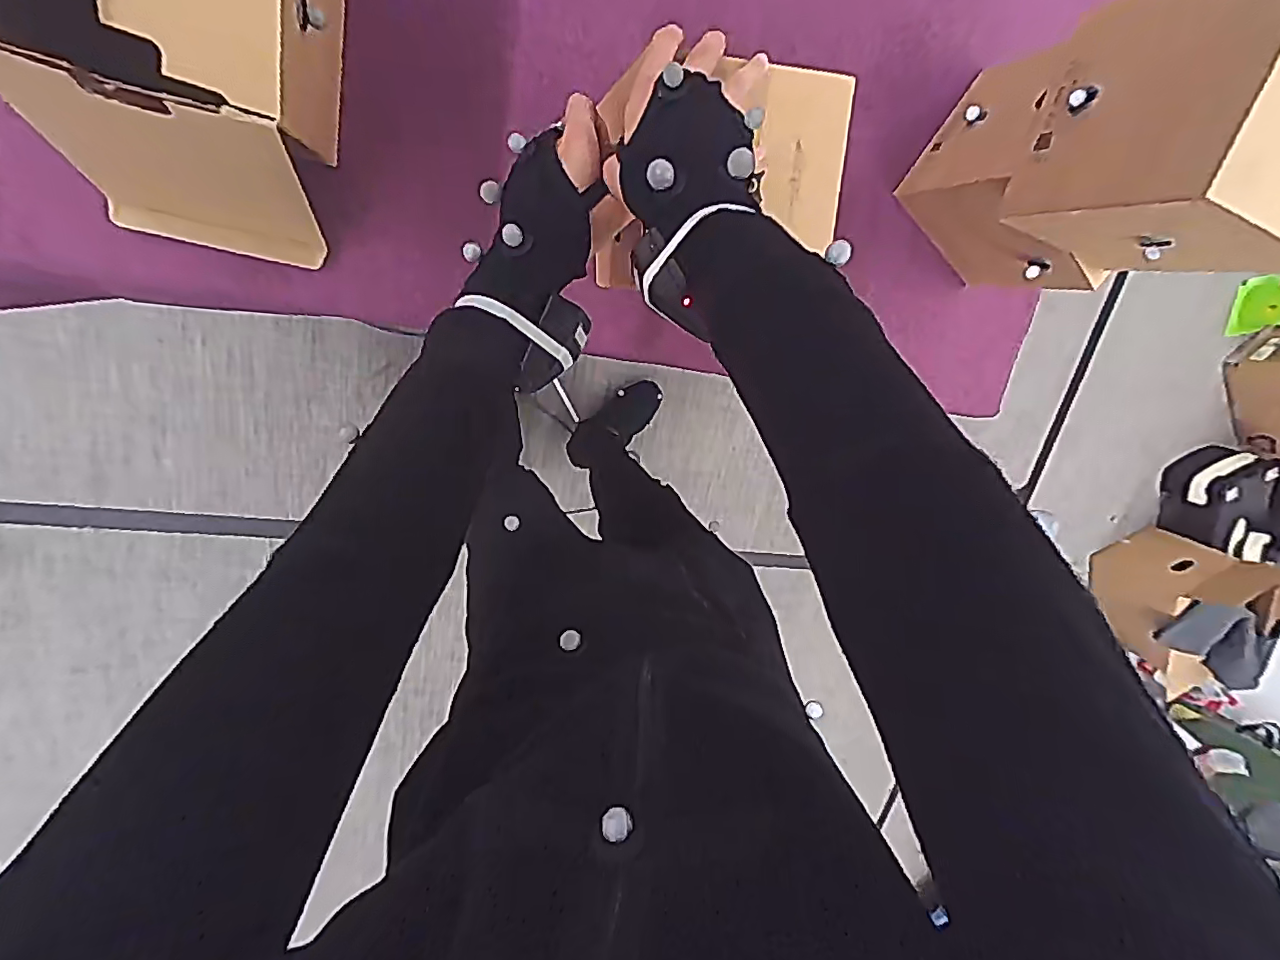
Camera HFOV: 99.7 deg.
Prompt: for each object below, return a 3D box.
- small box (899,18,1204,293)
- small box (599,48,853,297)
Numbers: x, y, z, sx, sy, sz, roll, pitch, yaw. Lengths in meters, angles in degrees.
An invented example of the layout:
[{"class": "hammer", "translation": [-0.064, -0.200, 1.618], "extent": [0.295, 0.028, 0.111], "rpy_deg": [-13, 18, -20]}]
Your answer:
[{"class": "small box", "translation": [0.433, -0.330, 0.590], "extent": [0.179, 0.176, 0.168], "rpy_deg": [32, 99, -25]}, {"class": "small box", "translation": [0.061, -0.263, 0.504], "extent": [0.179, 0.176, 0.168], "rpy_deg": [-4, 113, -17]}]
